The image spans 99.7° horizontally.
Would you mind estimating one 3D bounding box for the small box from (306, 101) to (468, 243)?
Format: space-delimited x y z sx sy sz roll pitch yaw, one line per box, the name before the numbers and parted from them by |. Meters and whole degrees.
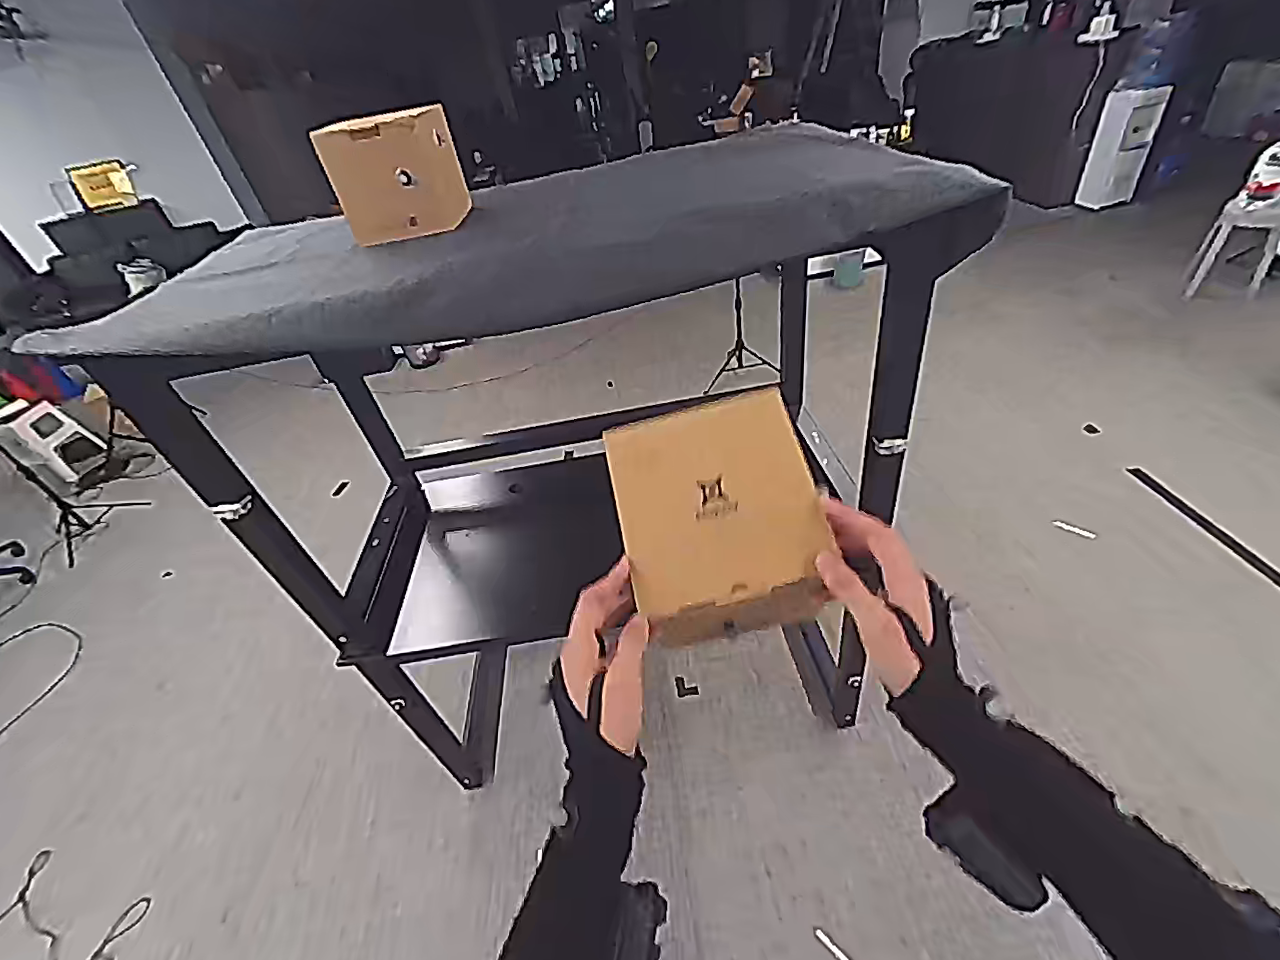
small box | -0.406 -0.511 0.906 0.168 0.176 0.179 -8 40 3
